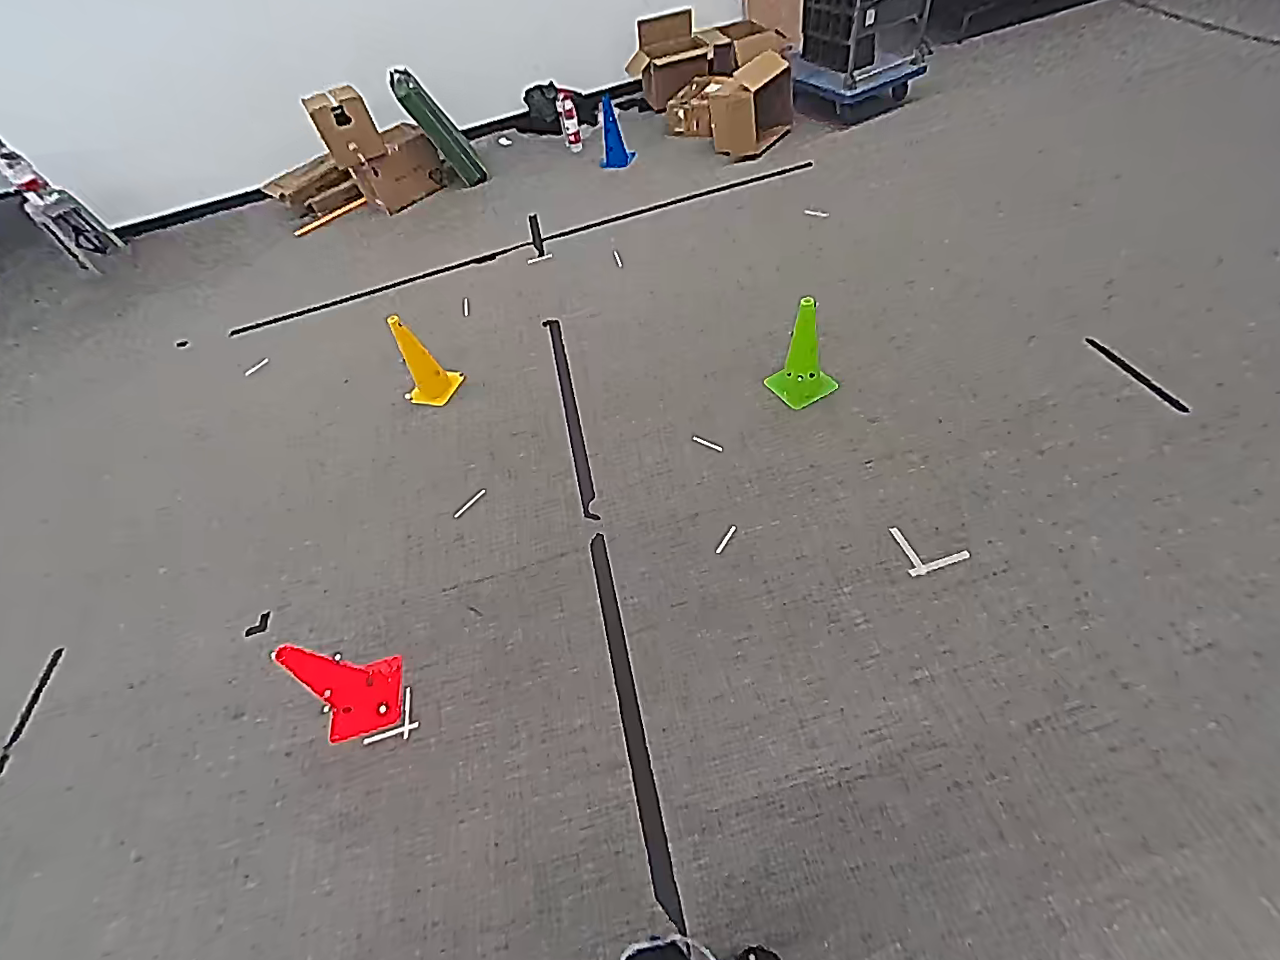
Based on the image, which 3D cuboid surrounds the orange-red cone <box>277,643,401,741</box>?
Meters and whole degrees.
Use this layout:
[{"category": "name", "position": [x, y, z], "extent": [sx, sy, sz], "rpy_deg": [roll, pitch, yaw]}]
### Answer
[{"category": "orange-red cone", "position": [-0.796, 0.503, 1.383], "extent": [0.198, 0.360, 0.199], "rpy_deg": [-16, 49, -1]}]

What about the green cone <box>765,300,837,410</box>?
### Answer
[{"category": "green cone", "position": [0.560, -0.452, 1.851], "extent": [0.200, 0.368, 0.202], "rpy_deg": [-29, 53, -10]}]
